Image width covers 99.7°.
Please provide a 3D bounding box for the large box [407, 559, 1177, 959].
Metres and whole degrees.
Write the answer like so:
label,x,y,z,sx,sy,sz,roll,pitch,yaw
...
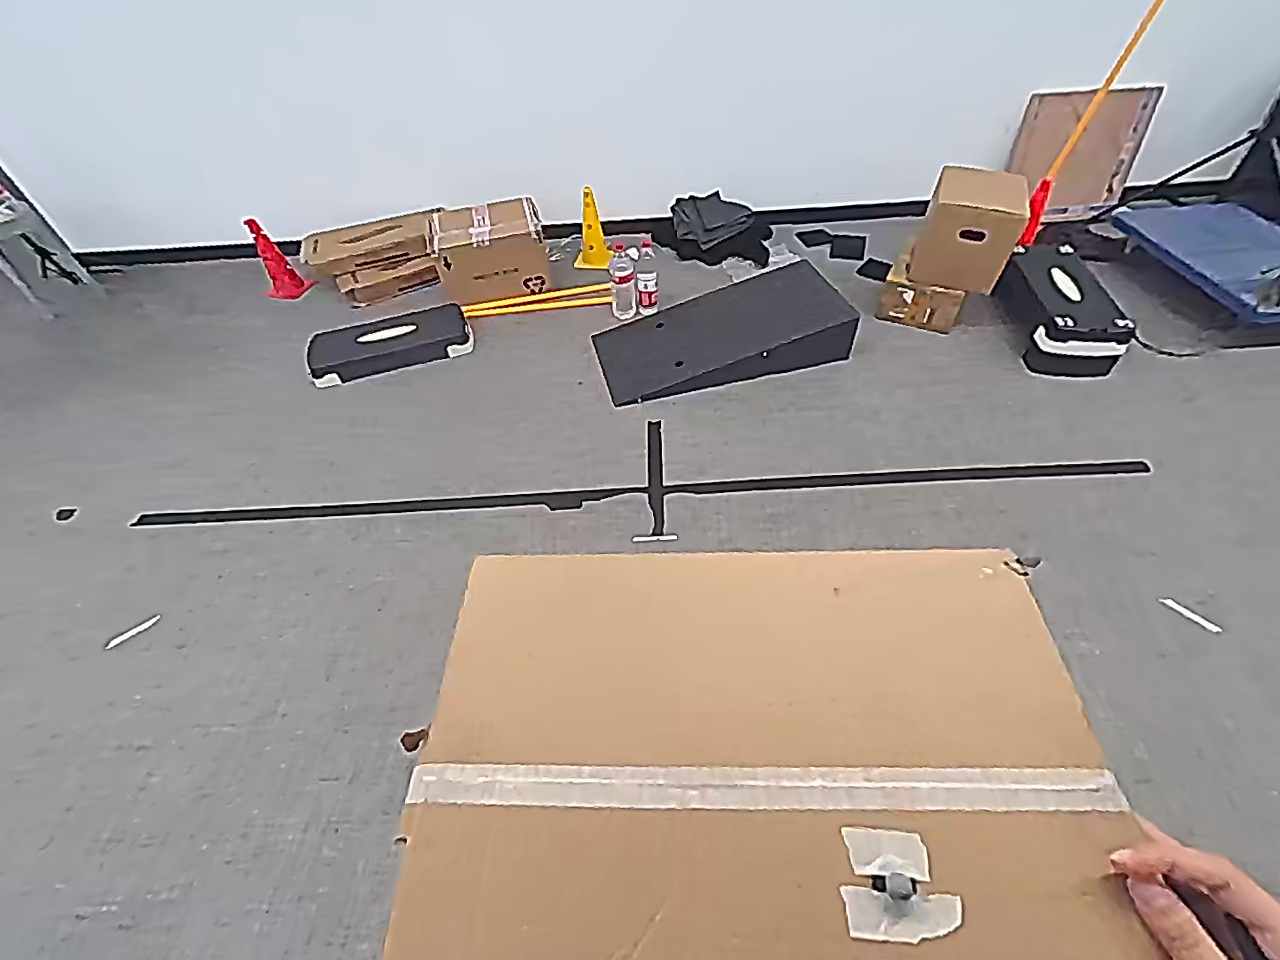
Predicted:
label,x,y,z,sx,sy,sz,roll,pitch,yaw
large box,0.079,0.278,0.445,0.408,0.320,0.320,-1,54,3
